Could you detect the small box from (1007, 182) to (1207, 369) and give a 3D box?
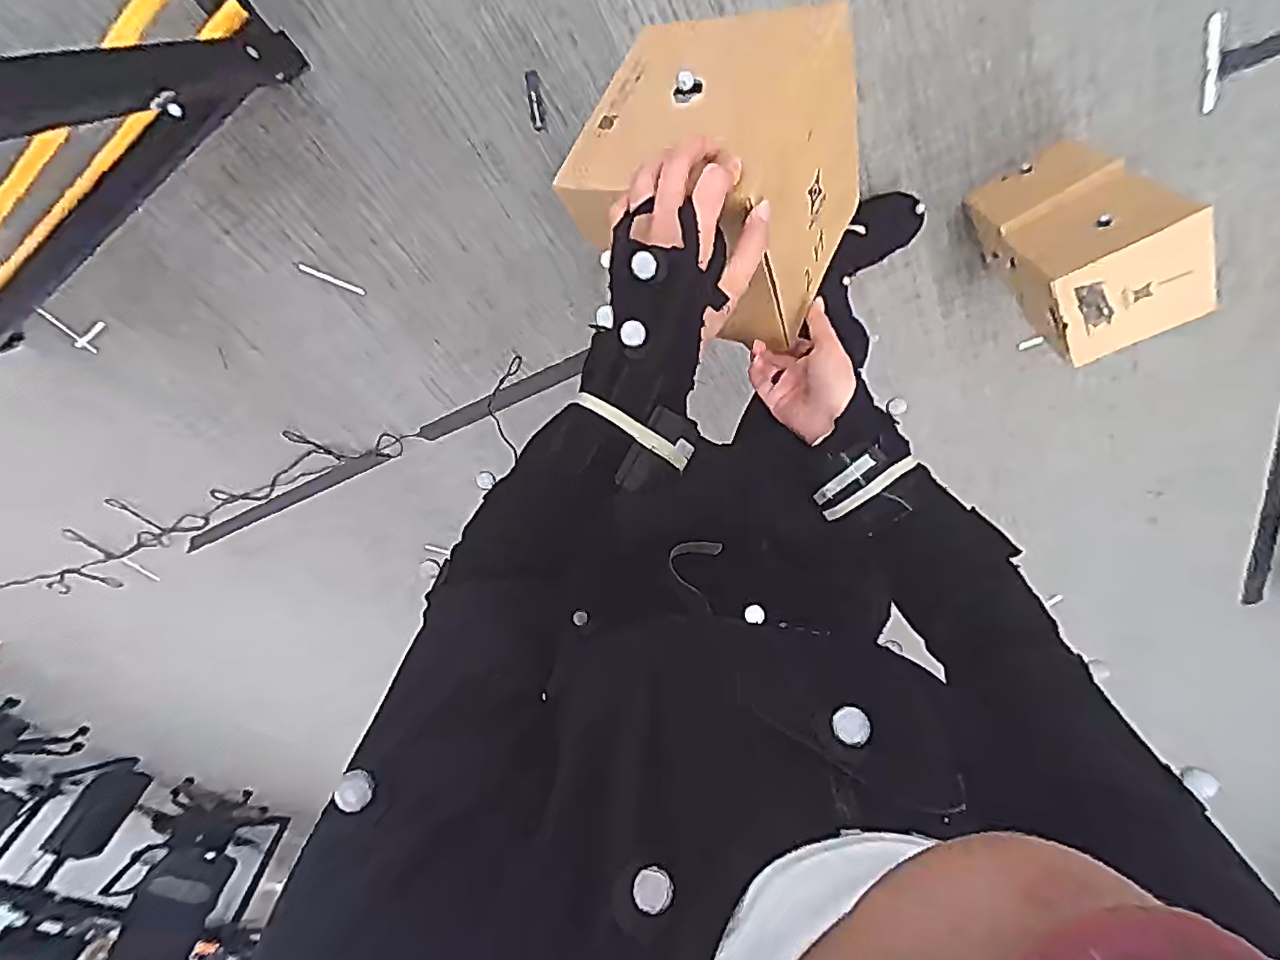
[{"bbox_3d":[0.683,-0.306,0.810,0.179,0.176,0.168,-25,125,25],"label":"small box"}]

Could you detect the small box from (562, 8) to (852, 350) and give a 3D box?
[{"bbox_3d":[0.064,-0.237,0.456,0.176,0.168,0.179,21,168,28],"label":"small box"}]
